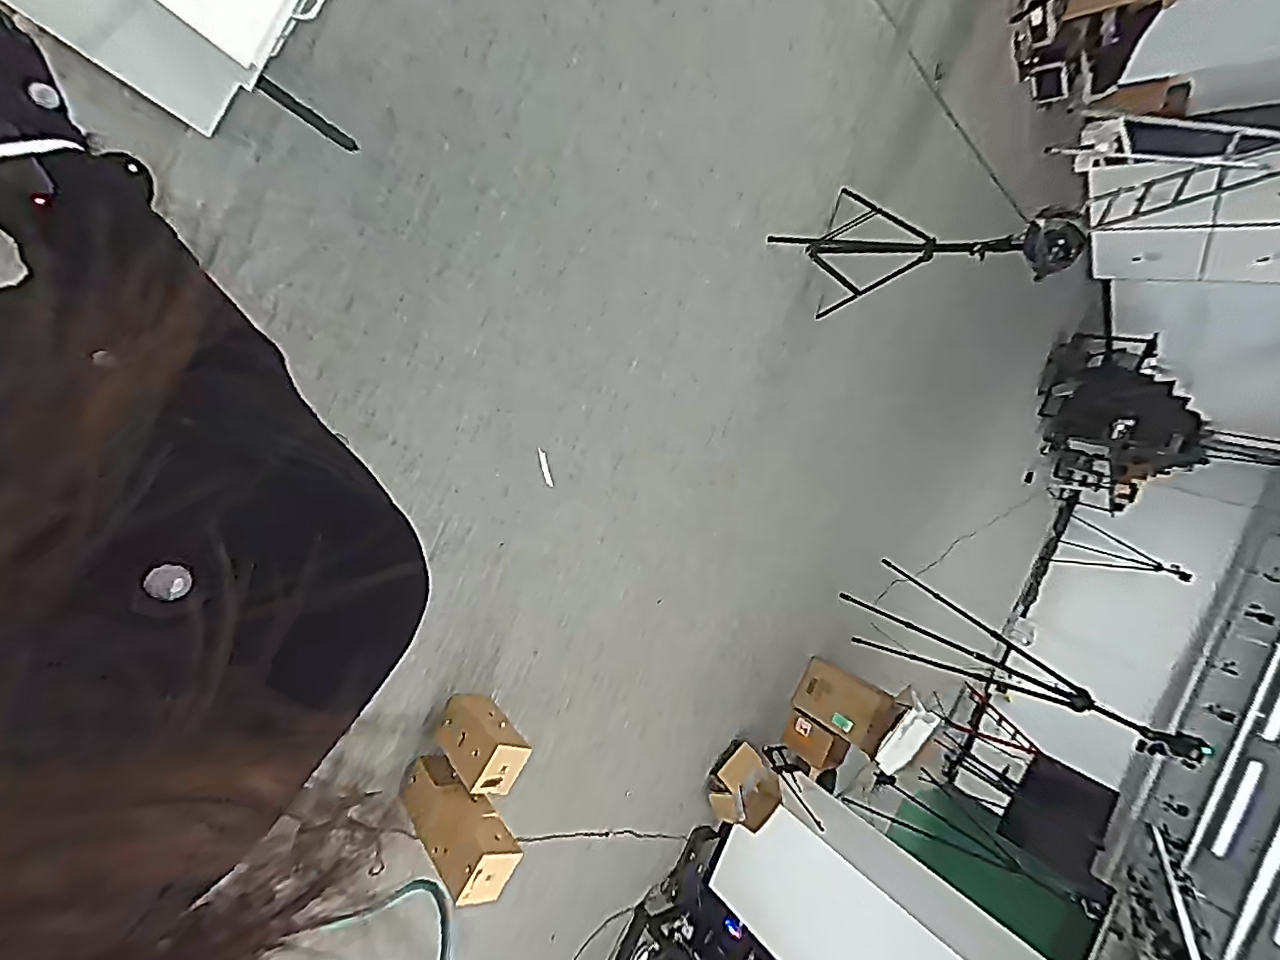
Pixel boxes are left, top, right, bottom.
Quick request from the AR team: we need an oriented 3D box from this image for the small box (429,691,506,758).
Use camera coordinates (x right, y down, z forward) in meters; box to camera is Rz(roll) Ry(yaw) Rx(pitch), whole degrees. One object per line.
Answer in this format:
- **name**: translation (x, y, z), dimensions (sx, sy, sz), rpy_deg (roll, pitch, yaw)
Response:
- **small box**: translation (-0.641, 0.906, 2.003), dimensions (0.179, 0.176, 0.168), rpy_deg (34, 82, -46)

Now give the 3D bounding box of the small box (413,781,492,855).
- **small box**: translation (-0.653, 1.168, 1.870), dimensions (0.168, 0.176, 0.179), rpy_deg (29, 86, -47)

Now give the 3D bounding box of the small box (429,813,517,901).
- **small box**: translation (-0.544, 1.213, 1.755), dimensions (0.179, 0.176, 0.168), rpy_deg (40, 78, -46)

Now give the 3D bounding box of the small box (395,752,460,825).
- **small box**: translation (-0.760, 1.121, 1.982), dimensions (0.179, 0.176, 0.168), rpy_deg (27, 87, -46)

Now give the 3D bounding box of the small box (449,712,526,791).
- **small box**: translation (-0.538, 0.943, 1.880), dimensions (0.168, 0.176, 0.179), rpy_deg (39, 78, -46)
